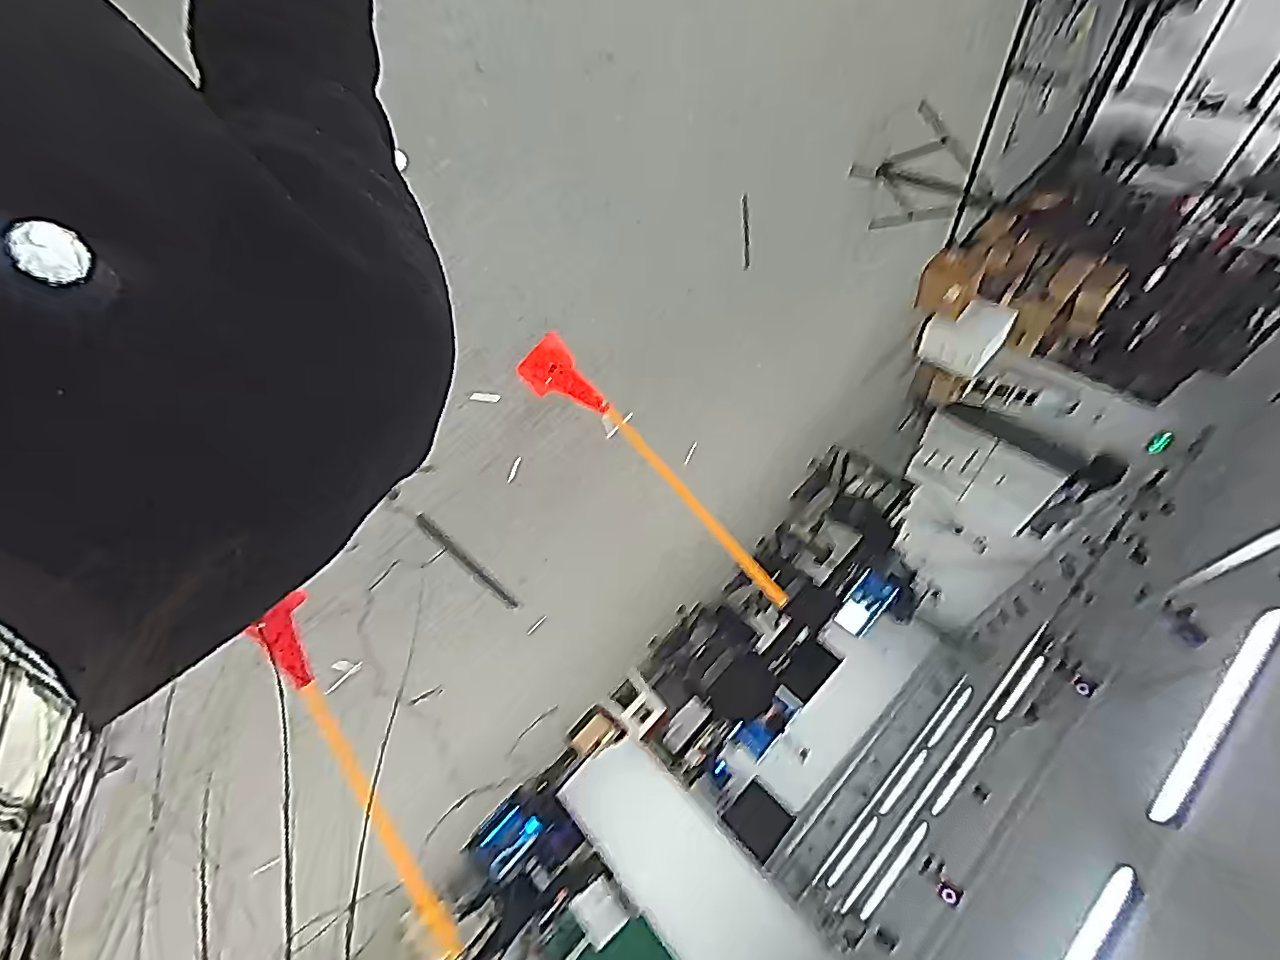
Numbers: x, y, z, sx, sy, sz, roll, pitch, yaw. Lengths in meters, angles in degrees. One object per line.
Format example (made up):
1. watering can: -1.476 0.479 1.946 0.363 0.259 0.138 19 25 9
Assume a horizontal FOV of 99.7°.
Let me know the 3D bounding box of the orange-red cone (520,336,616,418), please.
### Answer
1. orange-red cone: -0.218 -0.321 1.905 0.199 0.360 0.198 -49 152 -8
